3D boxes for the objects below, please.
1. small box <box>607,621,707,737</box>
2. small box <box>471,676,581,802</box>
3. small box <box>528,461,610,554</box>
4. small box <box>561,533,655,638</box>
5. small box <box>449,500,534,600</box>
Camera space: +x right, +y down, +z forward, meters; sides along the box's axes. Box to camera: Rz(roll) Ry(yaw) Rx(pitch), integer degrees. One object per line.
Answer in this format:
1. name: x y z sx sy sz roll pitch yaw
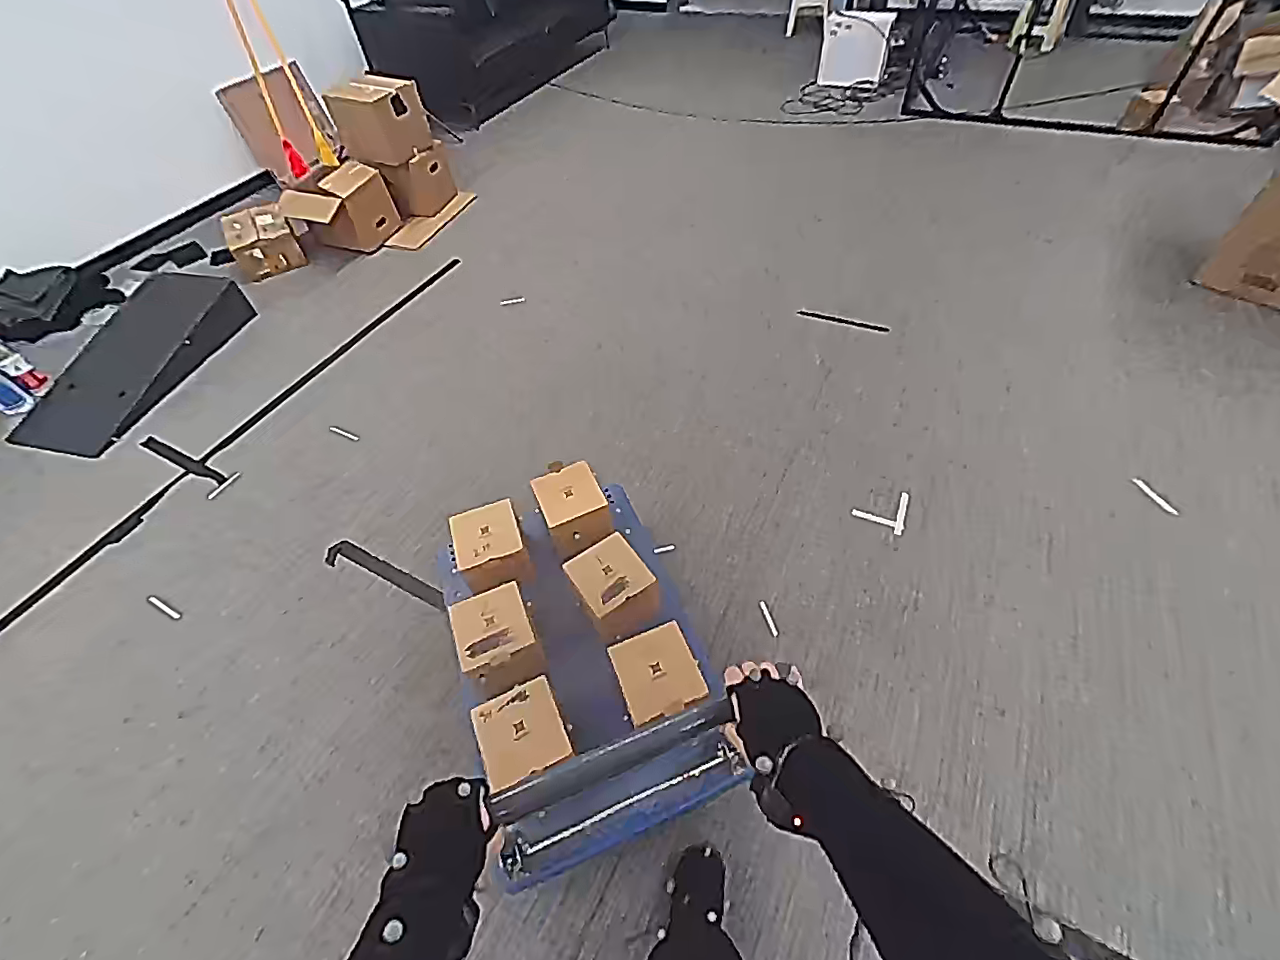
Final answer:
1. small box: 0.039 0.450 1.203 0.168 0.176 0.179 -19 52 -12
2. small box: -0.234 0.551 1.139 0.168 0.176 0.179 -22 53 -15
3. small box: -0.193 0.085 1.511 0.168 0.176 0.179 -23 53 -13
4. small box: -0.073 0.272 1.352 0.168 0.176 0.179 -30 54 -19
5. small box: -0.393 0.188 1.442 0.168 0.176 0.179 -18 53 -10
